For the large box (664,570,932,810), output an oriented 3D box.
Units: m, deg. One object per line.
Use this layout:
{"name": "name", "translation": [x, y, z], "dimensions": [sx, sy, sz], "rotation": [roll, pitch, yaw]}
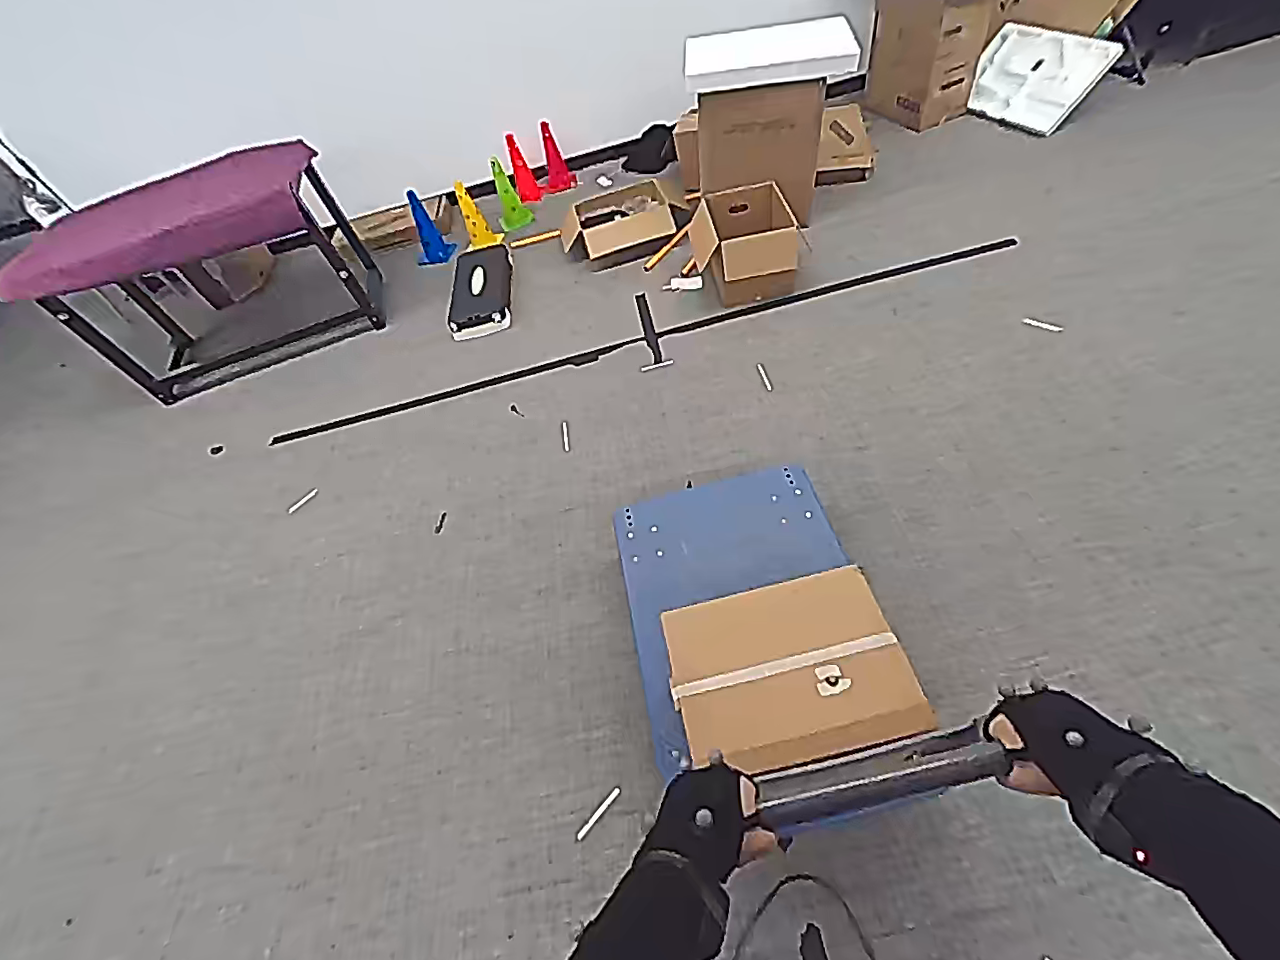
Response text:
{"name": "large box", "translation": [0.289, 0.435, 1.104], "dimensions": [0.408, 0.320, 0.320], "rotation": [-14, 52, 0]}
